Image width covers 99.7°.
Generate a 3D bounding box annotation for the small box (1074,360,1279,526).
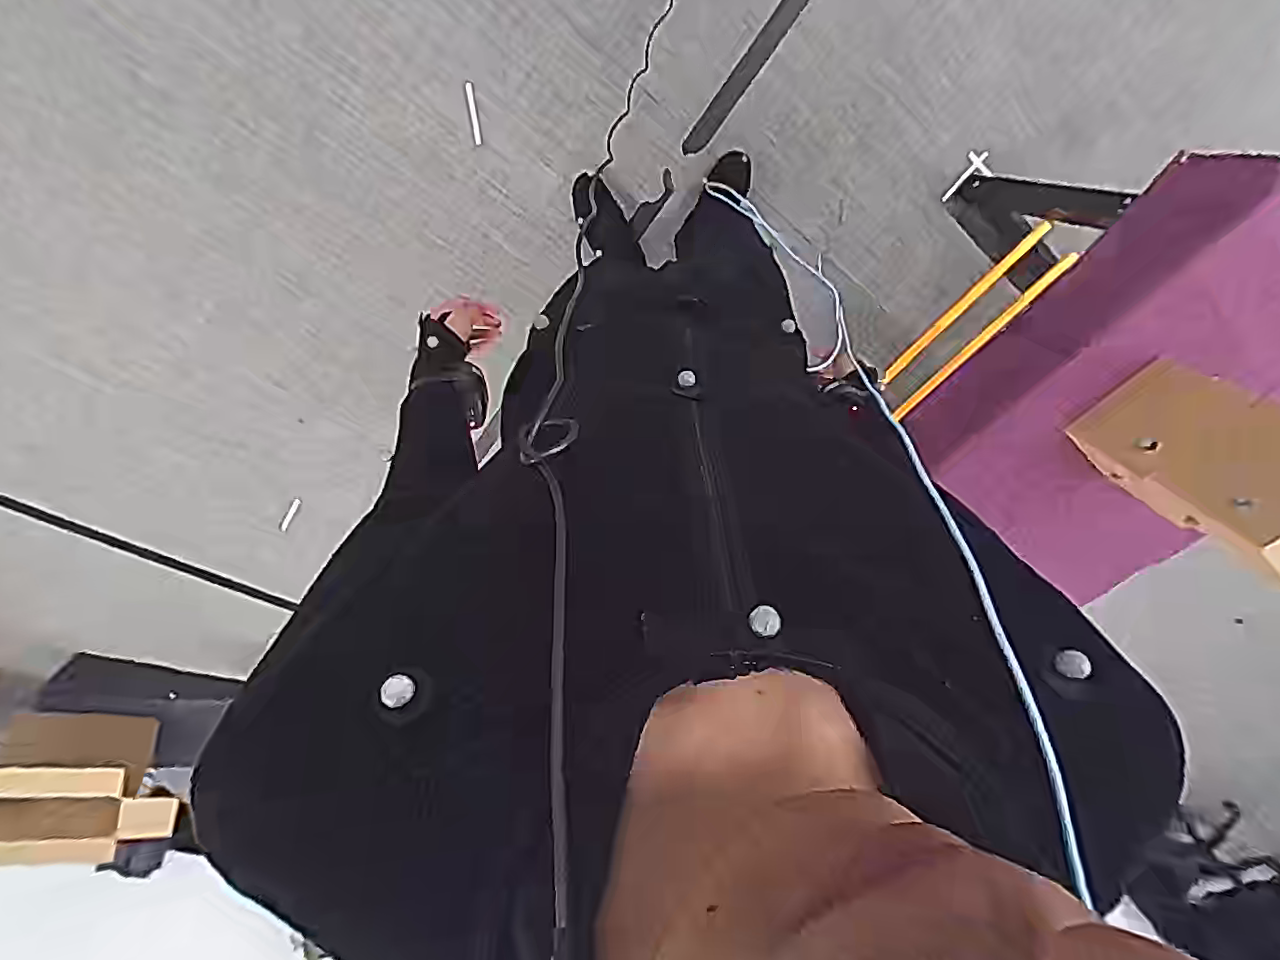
[{"bbox_3d":[0.873,-0.063,0.894,0.168,0.176,0.179,33,115,-24],"label":"small box"}]
